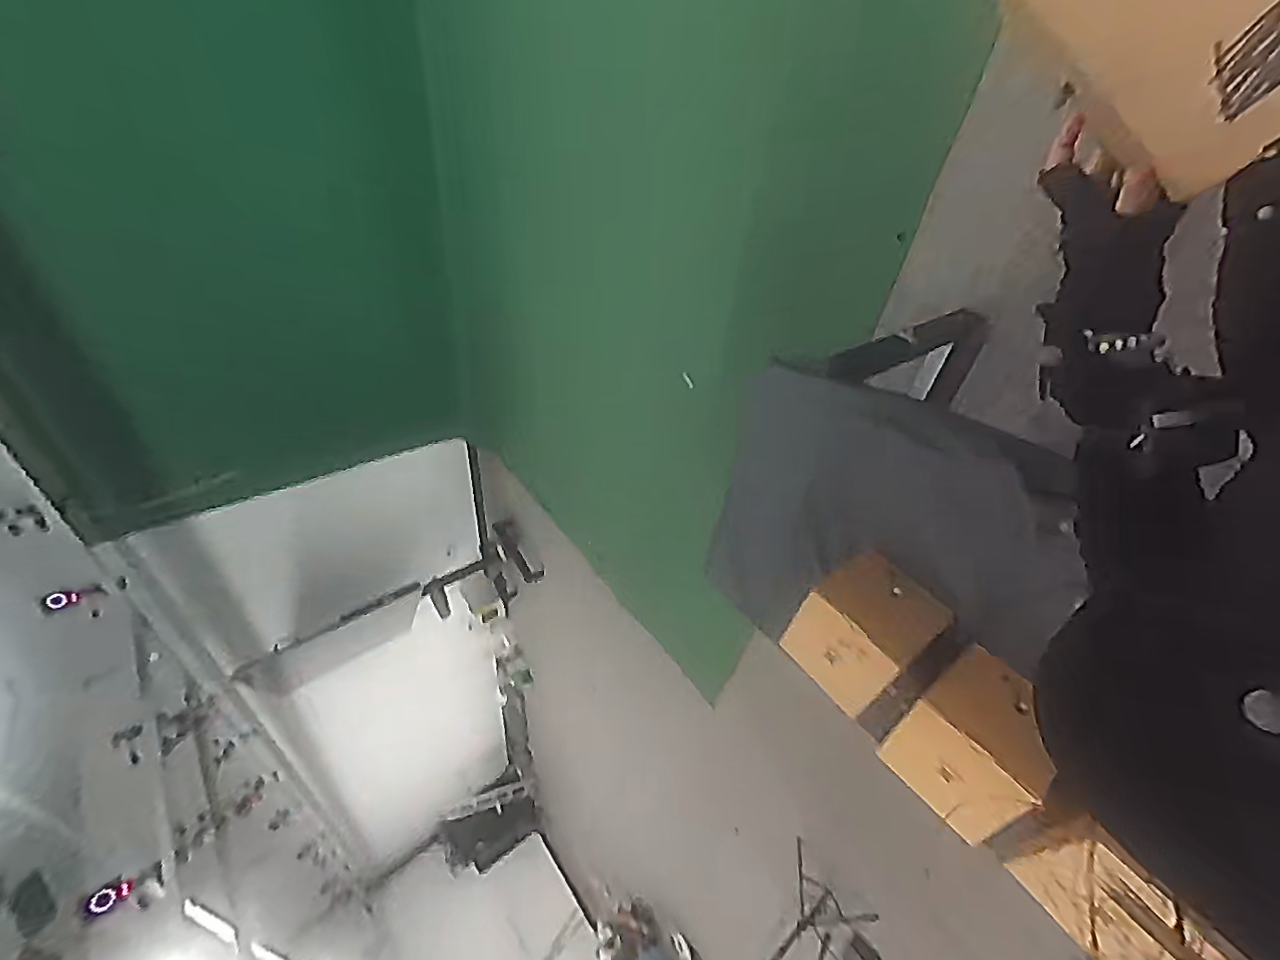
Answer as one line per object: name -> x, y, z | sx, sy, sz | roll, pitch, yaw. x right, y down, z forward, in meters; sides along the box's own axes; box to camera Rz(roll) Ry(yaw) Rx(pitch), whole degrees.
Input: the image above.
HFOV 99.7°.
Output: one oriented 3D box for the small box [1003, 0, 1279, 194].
small box -> 0.332, -0.289, 0.298 | 0.168, 0.176, 0.179 | -37, 87, 41
